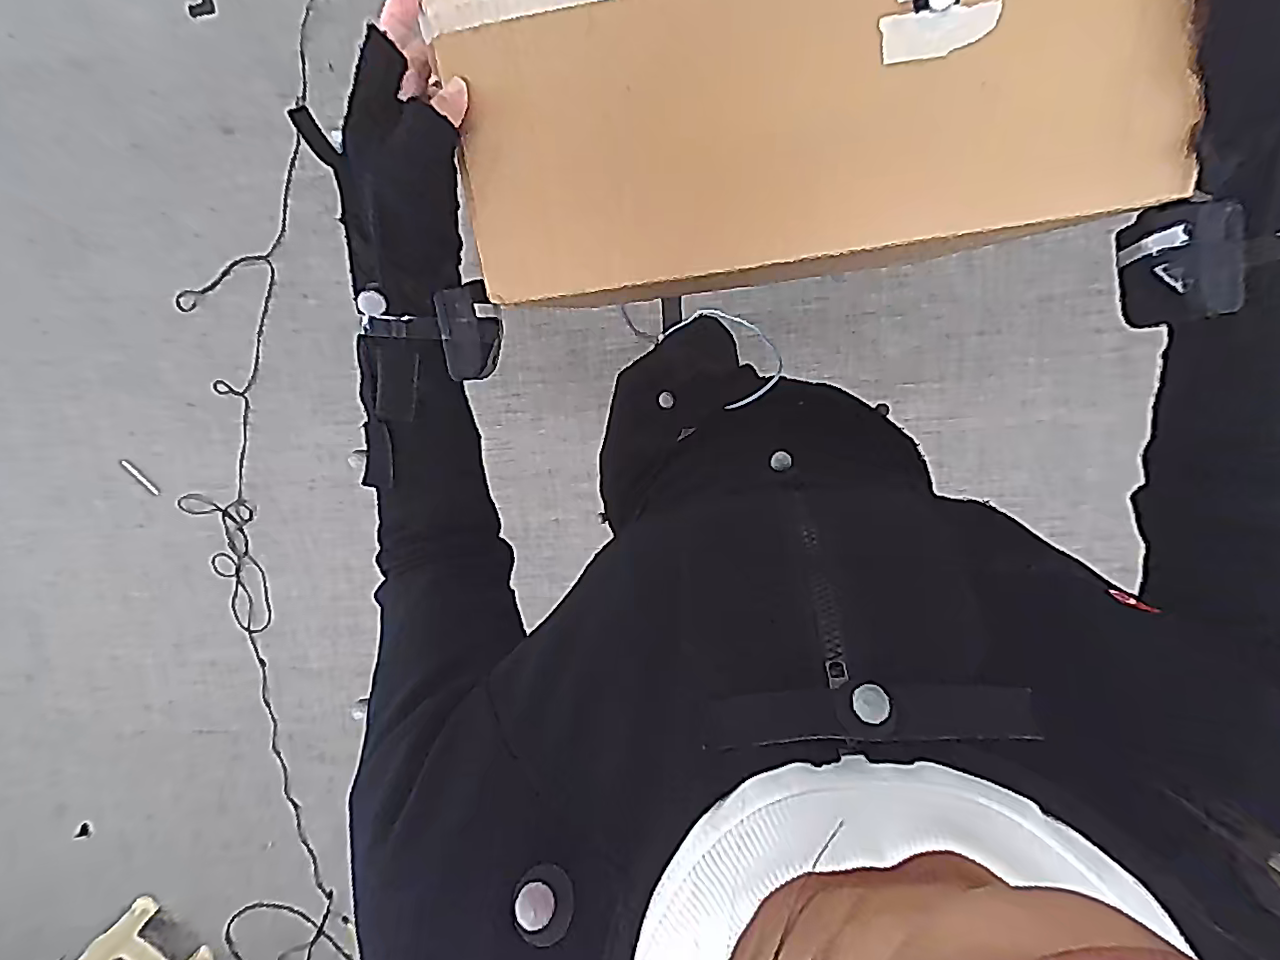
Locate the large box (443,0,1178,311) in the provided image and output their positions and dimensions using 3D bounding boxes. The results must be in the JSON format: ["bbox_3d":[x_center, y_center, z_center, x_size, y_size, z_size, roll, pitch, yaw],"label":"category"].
[{"bbox_3d":[0.091,-0.329,0.437,0.408,0.320,0.320,-7,107,6],"label":"large box"}]
